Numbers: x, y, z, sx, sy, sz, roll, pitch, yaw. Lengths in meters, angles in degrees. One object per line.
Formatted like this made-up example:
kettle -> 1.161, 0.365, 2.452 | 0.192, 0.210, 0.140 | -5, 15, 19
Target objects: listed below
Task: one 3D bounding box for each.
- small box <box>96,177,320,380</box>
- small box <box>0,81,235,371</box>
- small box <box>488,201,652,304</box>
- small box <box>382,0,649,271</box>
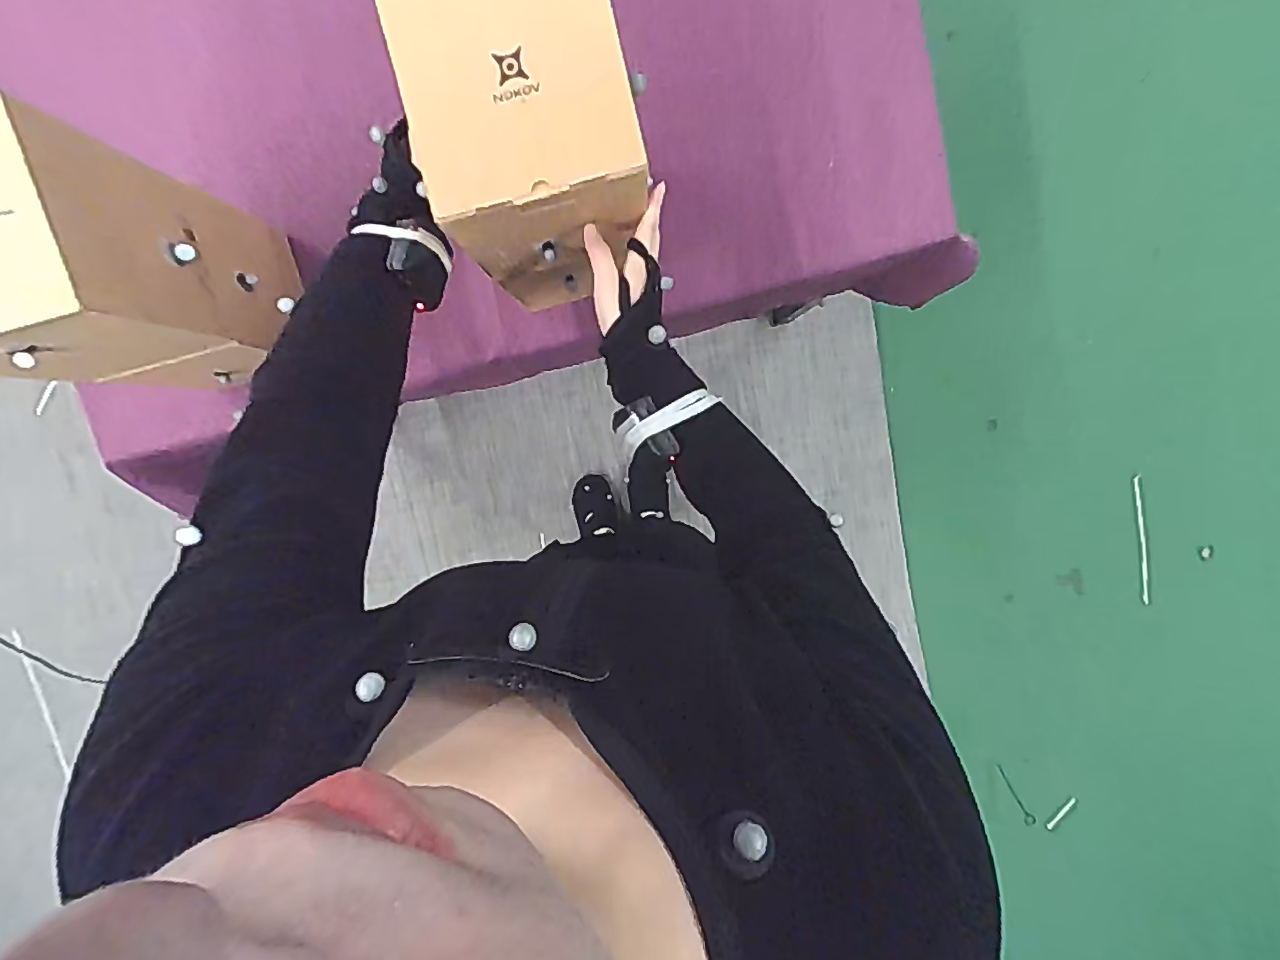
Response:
small box -> -0.523, -0.222, 0.647 | 0.168, 0.176, 0.179 | -14, 96, 1
small box -> -0.524, -0.201, 0.484 | 0.179, 0.176, 0.168 | -14, 97, 1
small box -> -0.087, -0.320, 0.635 | 0.179, 0.176, 0.168 | -15, 97, 3
small box -> -0.093, -0.308, 0.472 | 0.168, 0.176, 0.179 | -13, 97, 2
